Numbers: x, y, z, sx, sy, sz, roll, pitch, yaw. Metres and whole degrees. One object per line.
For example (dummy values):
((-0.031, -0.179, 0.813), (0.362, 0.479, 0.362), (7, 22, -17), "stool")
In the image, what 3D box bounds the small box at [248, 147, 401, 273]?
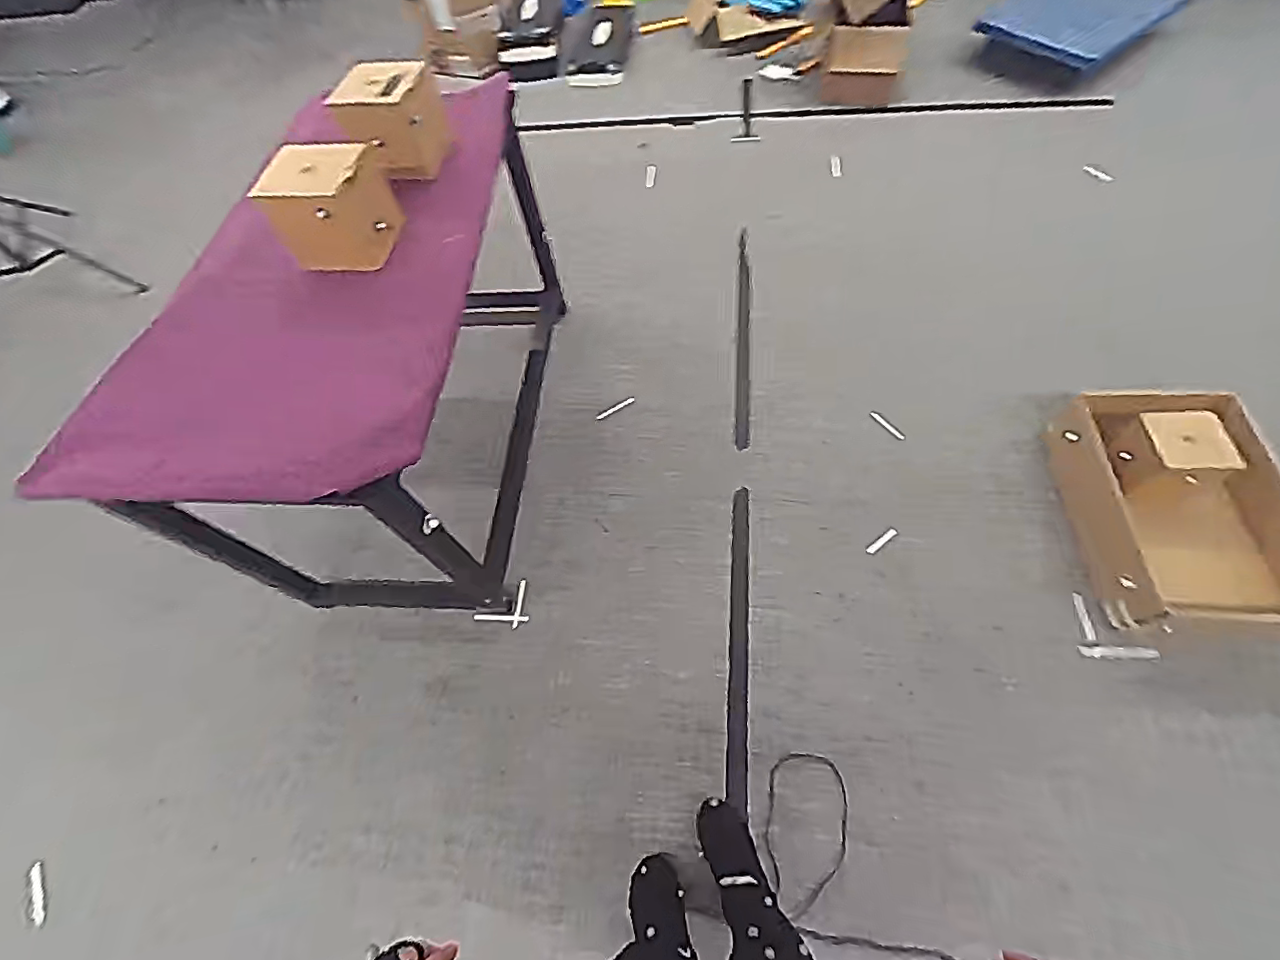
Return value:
((-0.622, -0.538, 1.090), (0.179, 0.176, 0.168), (3, 61, 7), "small box")

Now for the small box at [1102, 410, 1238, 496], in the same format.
((1.370, -0.066, 1.421), (0.179, 0.176, 0.168), (-1, 62, 5), "small box")
